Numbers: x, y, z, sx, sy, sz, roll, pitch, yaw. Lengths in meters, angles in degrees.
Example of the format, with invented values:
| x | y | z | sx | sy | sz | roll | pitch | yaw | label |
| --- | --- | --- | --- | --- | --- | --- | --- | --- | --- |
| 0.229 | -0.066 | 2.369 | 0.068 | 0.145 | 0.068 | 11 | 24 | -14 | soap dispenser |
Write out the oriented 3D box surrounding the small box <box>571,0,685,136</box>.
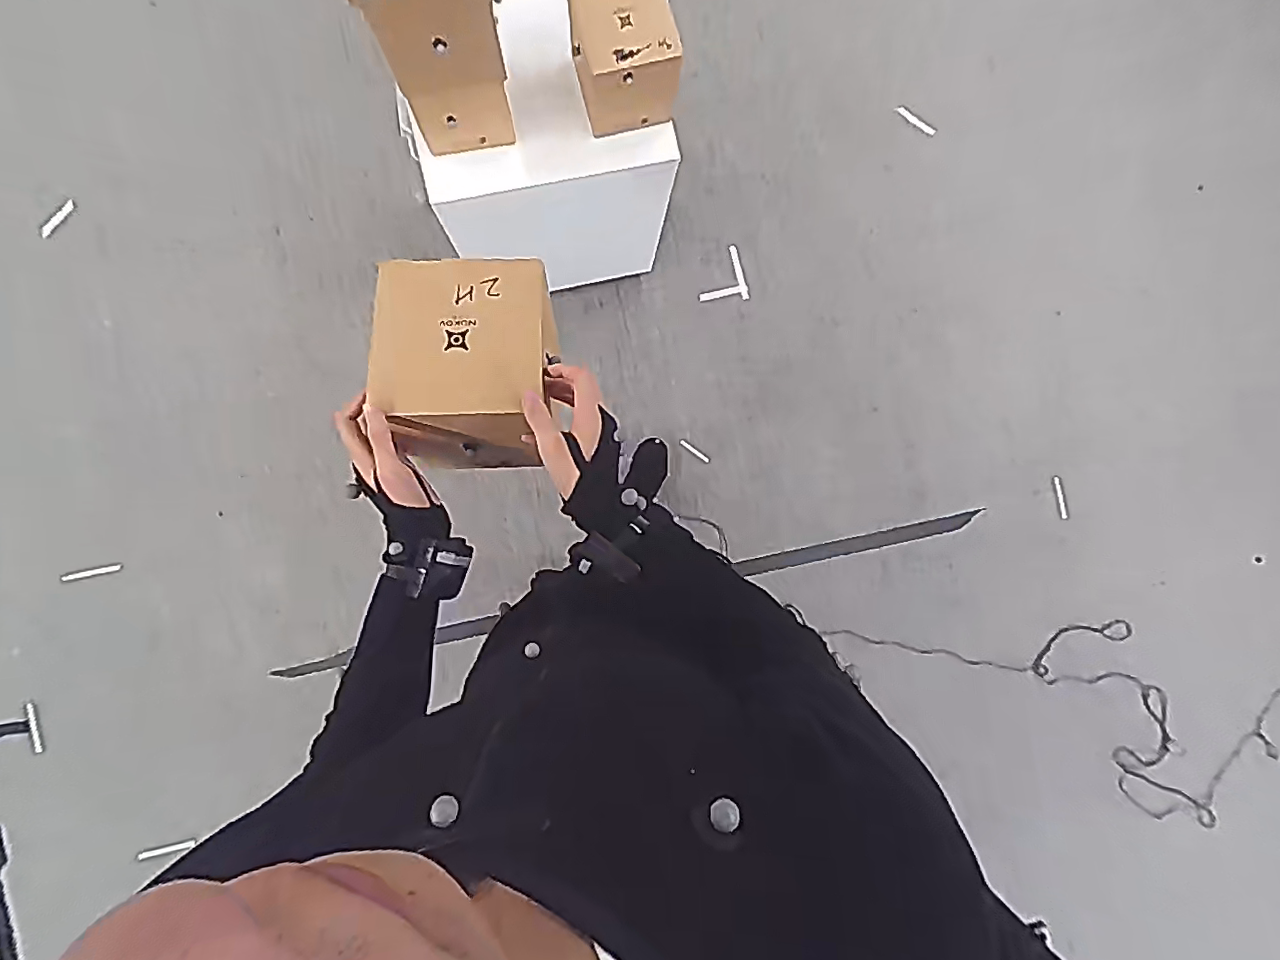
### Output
| x | y | z | sx | sy | sz | roll | pitch | yaw | label |
| --- | --- | --- | --- | --- | --- | --- | --- | --- | --- |
| -0.028 | -0.784 | 0.996 | 0.168 | 0.176 | 0.179 | -15 | 89 | -3 | small box |

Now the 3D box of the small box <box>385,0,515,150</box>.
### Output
| x | y | z | sx | sy | sz | roll | pitch | yaw | label |
| --- | --- | --- | --- | --- | --- | --- | --- | --- | --- |
| -0.330 | -0.727 | 0.973 | 0.168 | 0.176 | 0.179 | -13 | 89 | -5 | small box |

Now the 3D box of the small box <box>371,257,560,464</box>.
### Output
| x | y | z | sx | sy | sz | roll | pitch | yaw | label |
| --- | --- | --- | --- | --- | --- | --- | --- | --- | --- |
| -0.178 | -0.121 | 0.606 | 0.168 | 0.176 | 0.179 | -1 | 73 | -5 | small box |
